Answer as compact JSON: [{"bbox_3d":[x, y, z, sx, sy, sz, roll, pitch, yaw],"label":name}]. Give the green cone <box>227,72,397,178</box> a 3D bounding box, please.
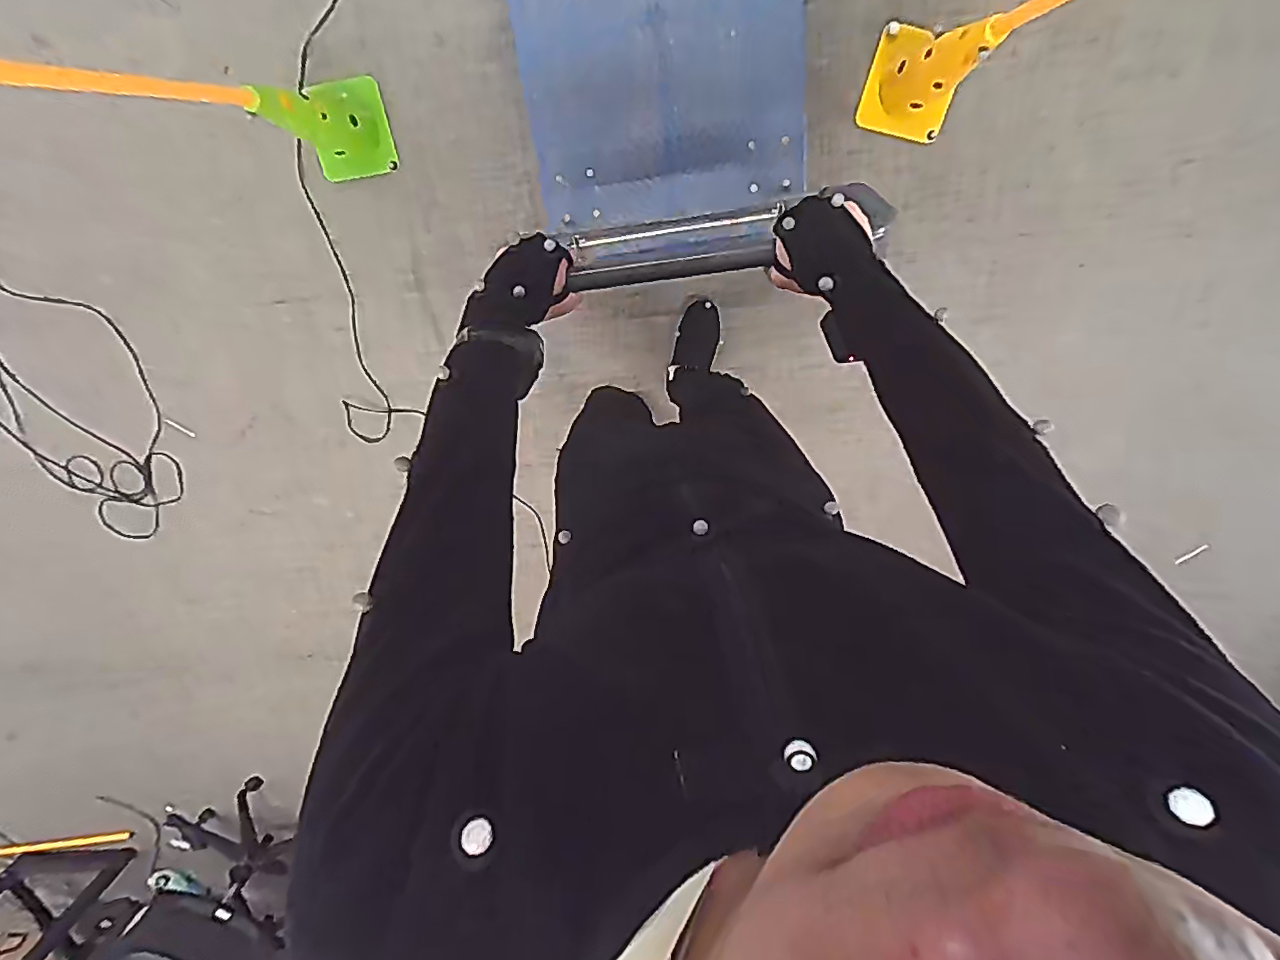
[{"bbox_3d":[-0.721,-0.787,1.155,0.202,0.368,0.200,-6,114,8],"label":"green cone"}]
